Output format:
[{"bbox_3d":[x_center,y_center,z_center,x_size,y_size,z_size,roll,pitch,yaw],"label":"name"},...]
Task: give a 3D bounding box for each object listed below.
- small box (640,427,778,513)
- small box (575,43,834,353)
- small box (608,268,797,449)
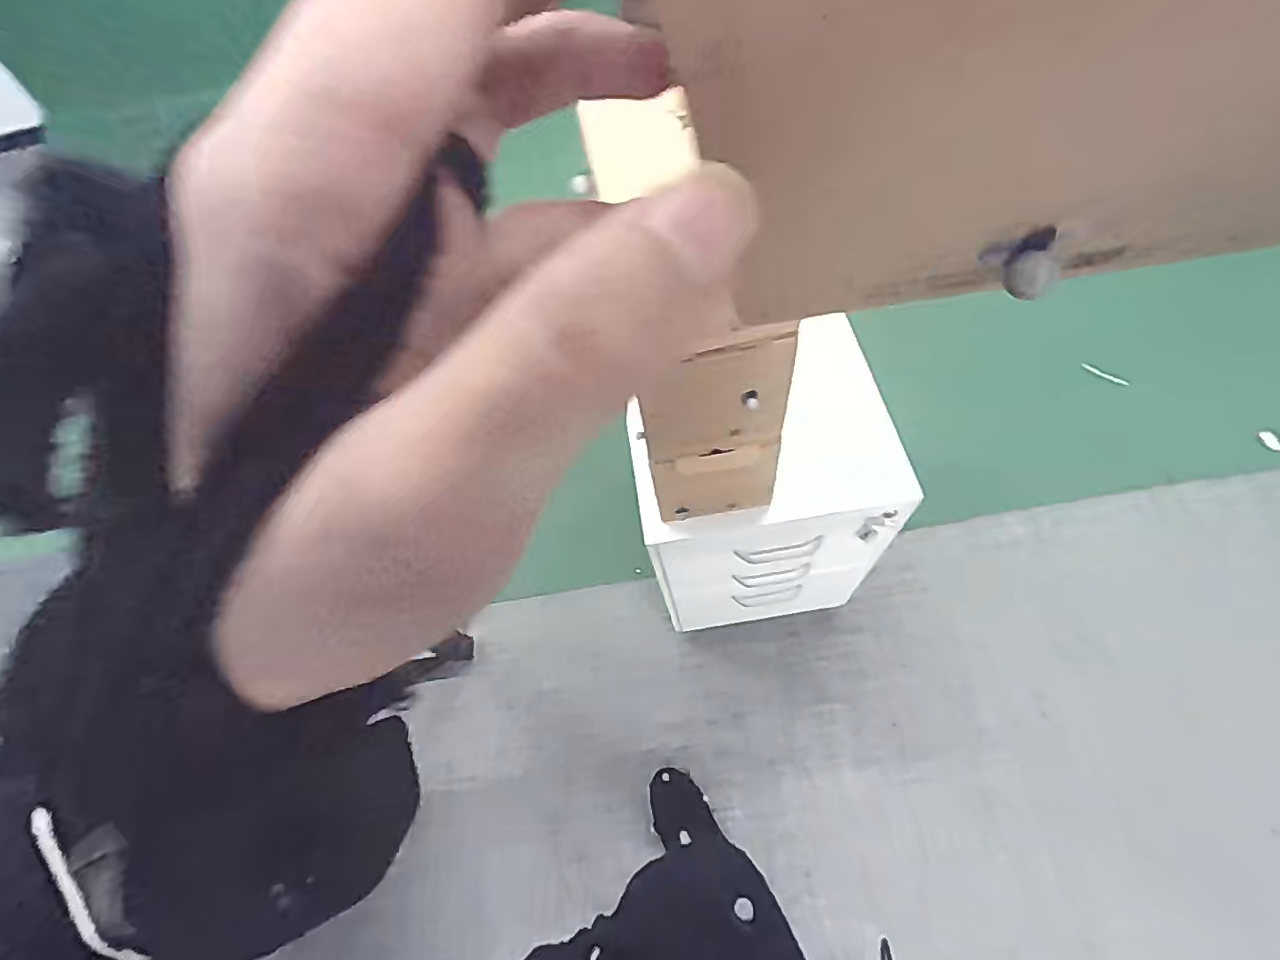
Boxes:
[{"bbox_3d":[0.086,-0.066,0.753,0.168,0.176,0.179,-9,60,2],"label":"small box"},{"bbox_3d":[0.048,-0.232,0.476,0.168,0.176,0.179,-12,60,0],"label":"small box"},{"bbox_3d":[0.065,-0.151,0.616,0.168,0.176,0.179,-11,59,0],"label":"small box"}]
